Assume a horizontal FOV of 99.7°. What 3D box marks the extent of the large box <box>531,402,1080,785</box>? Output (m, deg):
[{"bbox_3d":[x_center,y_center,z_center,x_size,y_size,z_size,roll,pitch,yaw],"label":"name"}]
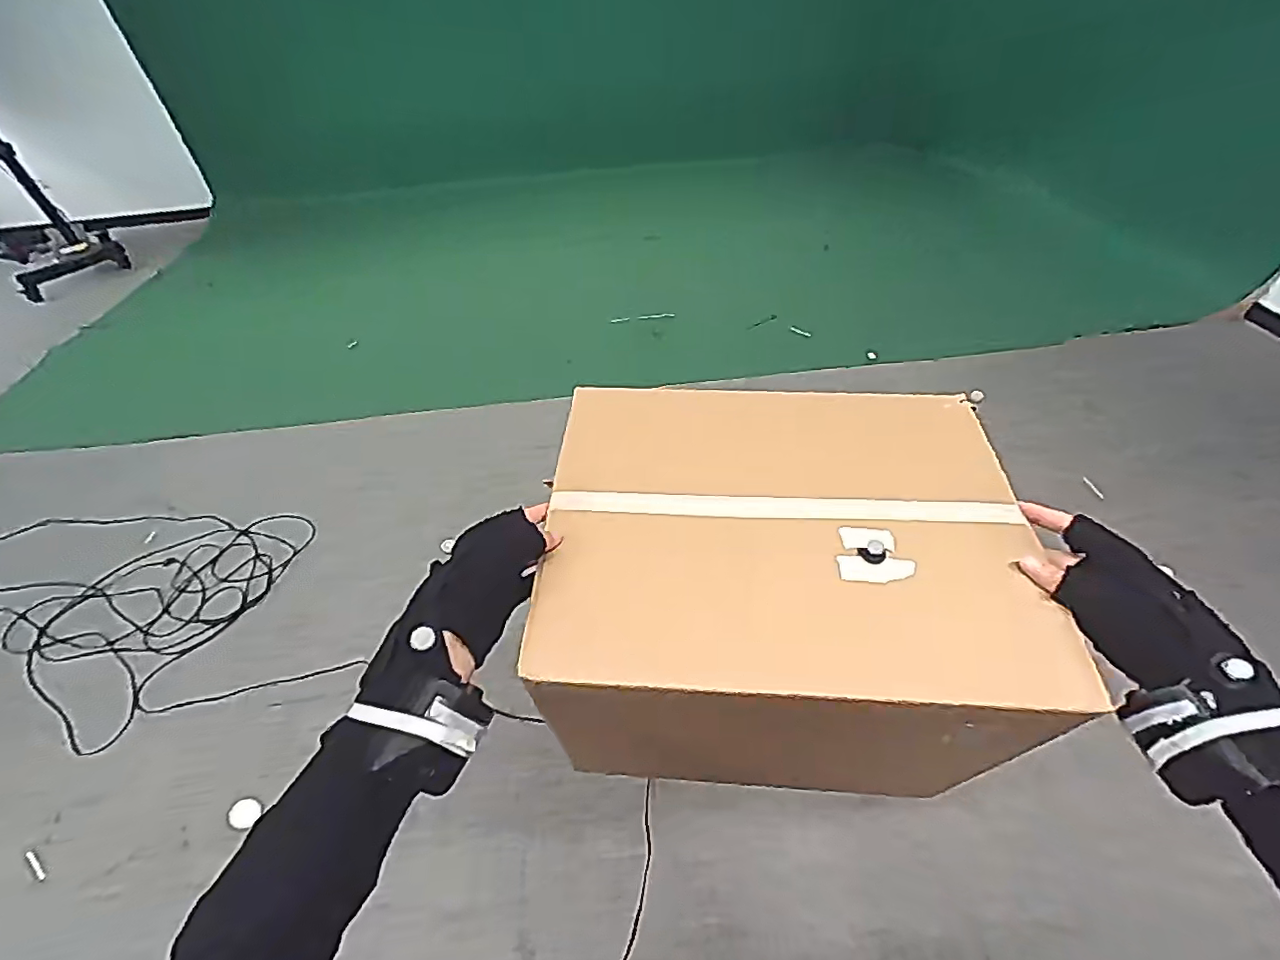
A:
[{"bbox_3d":[0.125,0.129,0.598,0.408,0.320,0.320,1,51,4],"label":"large box"}]
